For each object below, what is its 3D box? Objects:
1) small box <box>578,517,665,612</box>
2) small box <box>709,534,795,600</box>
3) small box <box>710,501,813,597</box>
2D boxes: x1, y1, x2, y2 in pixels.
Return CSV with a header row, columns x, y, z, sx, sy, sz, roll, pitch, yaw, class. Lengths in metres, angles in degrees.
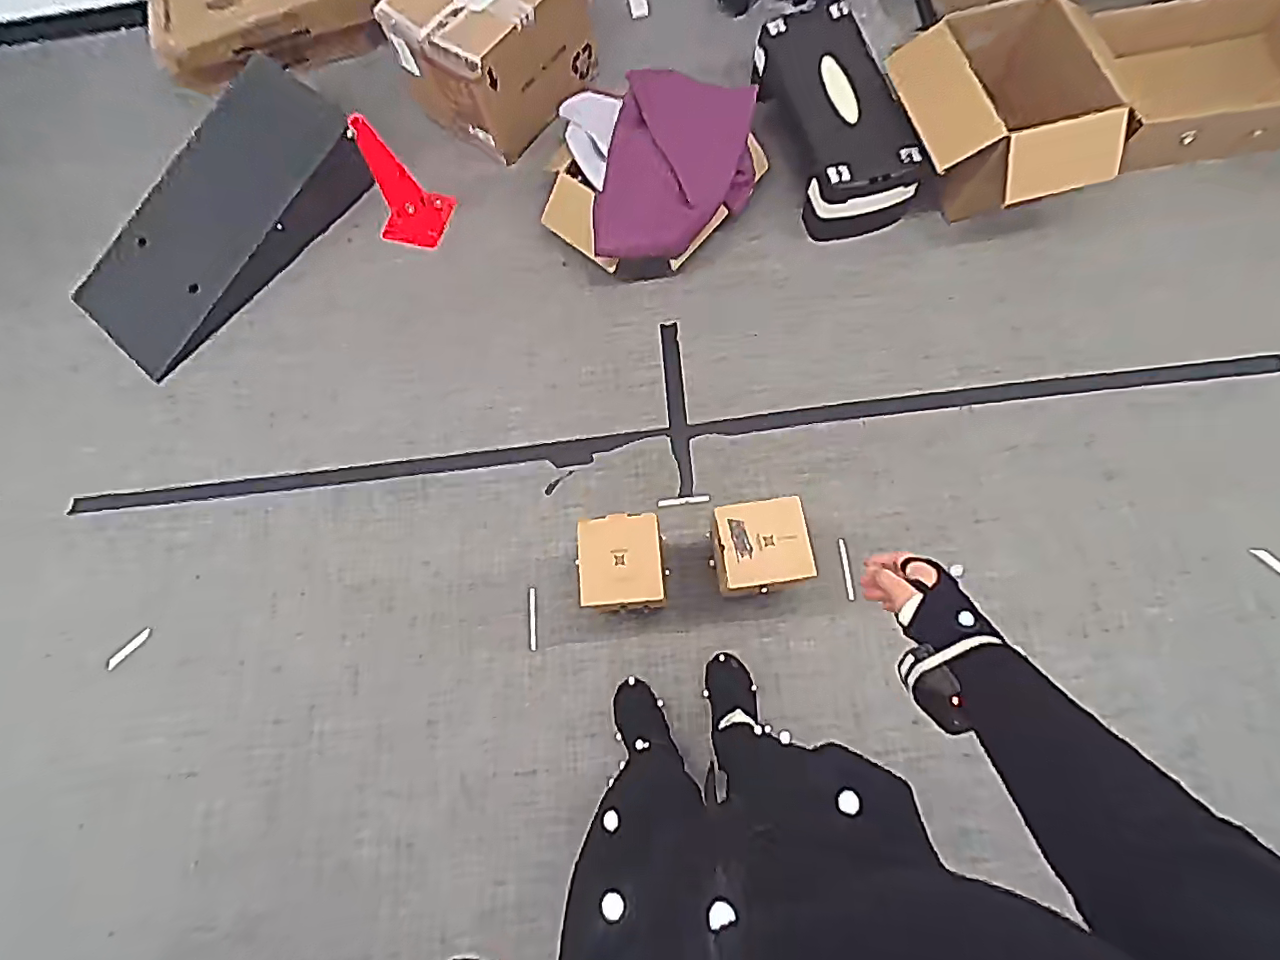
x,y,z,sx,sy,sz,roll,pitch,yaw,class
-0.036,0.187,1.160,0.168,0.176,0.179,-6,75,4,small box
0.264,0.194,1.310,0.168,0.176,0.179,-8,75,2,small box
0.247,0.153,1.150,0.179,0.176,0.168,-8,74,1,small box
